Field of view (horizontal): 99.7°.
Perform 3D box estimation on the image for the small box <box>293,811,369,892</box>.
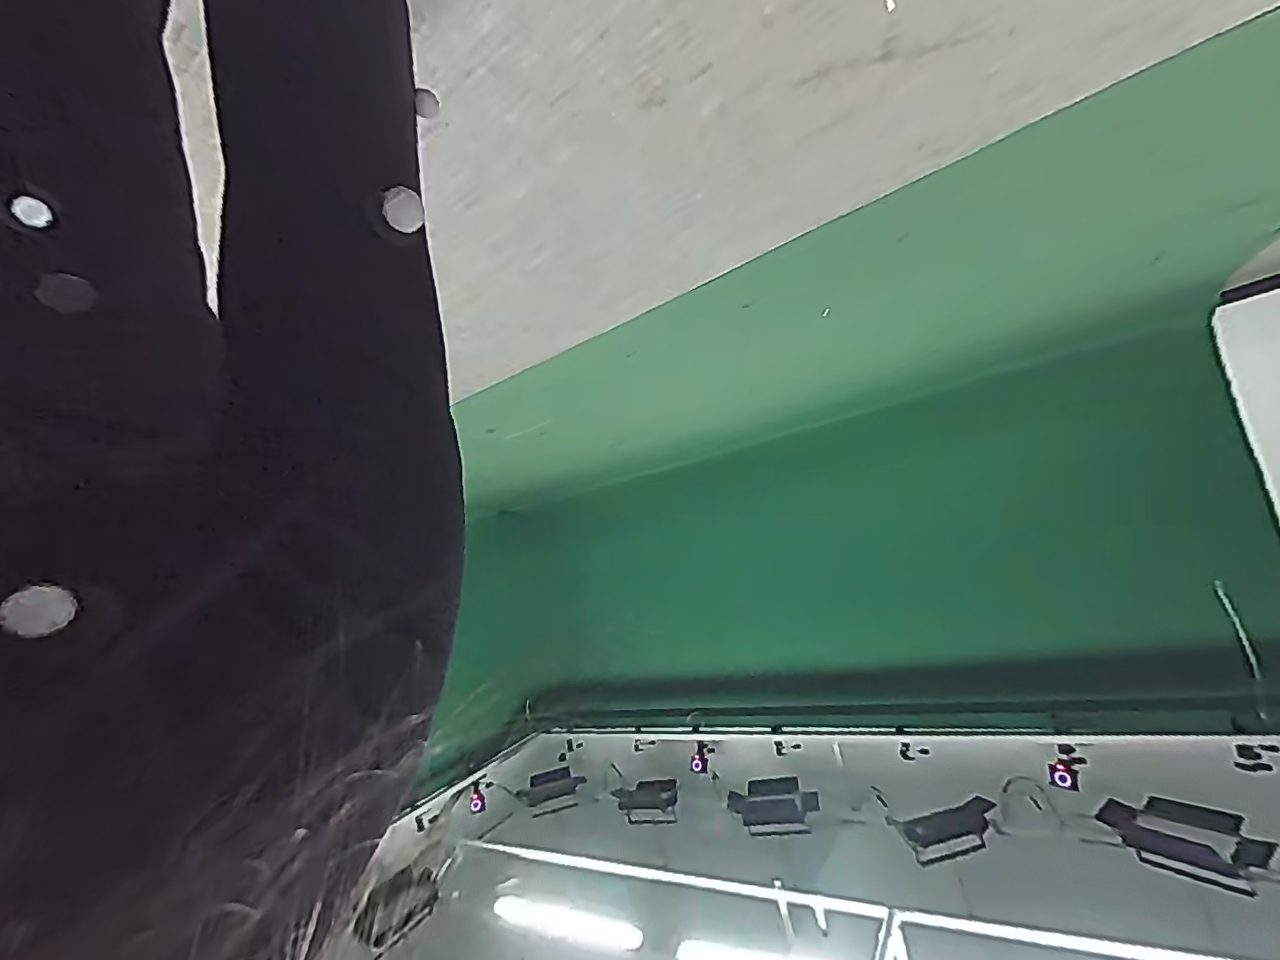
[{"bbox_3d":[-1.089,1.294,1.897,0.179,0.176,0.168,-16,171,32],"label":"small box"}]
